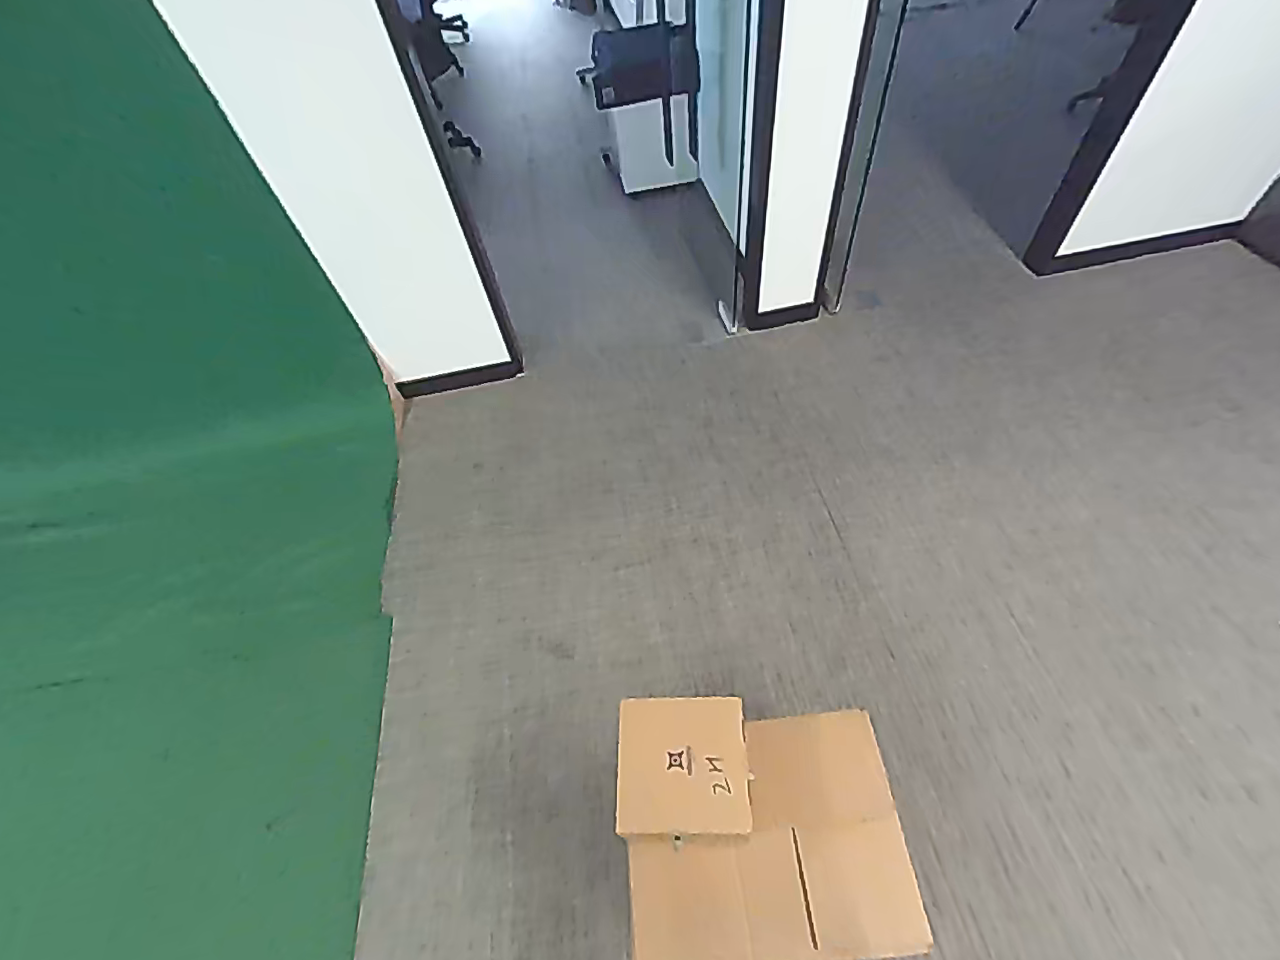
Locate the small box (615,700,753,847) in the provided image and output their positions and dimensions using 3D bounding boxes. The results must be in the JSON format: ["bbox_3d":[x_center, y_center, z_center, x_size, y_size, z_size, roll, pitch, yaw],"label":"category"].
[{"bbox_3d":[0.065,0.429,0.785,0.179,0.176,0.168,-3,53,5],"label":"small box"}]
